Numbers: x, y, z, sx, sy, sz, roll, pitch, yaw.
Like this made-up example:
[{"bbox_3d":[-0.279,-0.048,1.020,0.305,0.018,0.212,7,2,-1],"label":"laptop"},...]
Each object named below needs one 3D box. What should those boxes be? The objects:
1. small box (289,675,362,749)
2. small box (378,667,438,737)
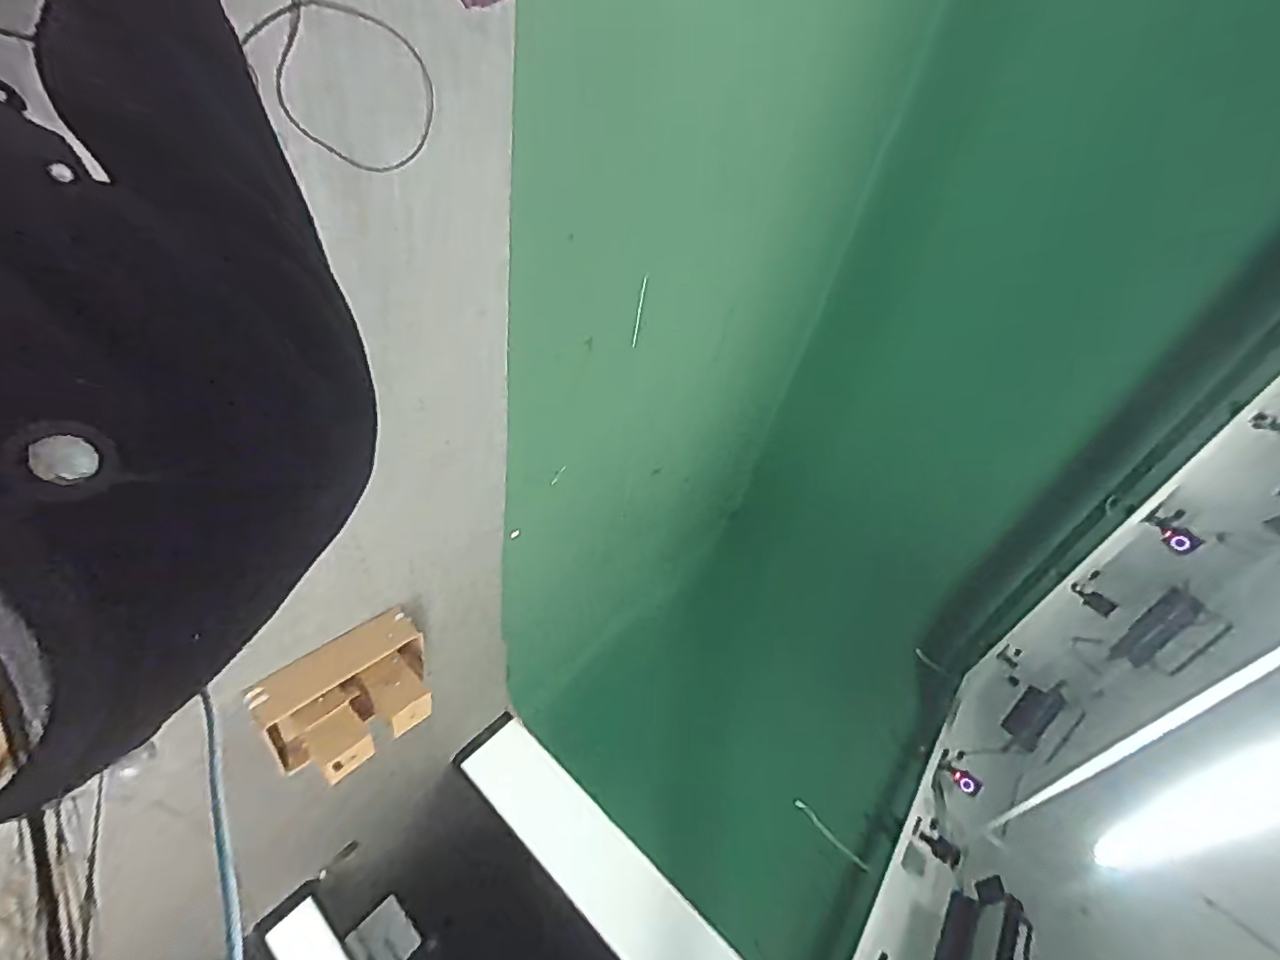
[{"bbox_3d":[-1.240,0.910,2.136,0.179,0.176,0.168,-34,146,-42],"label":"small box"},{"bbox_3d":[-0.960,0.914,2.241,0.168,0.176,0.179,-29,143,-44],"label":"small box"}]
